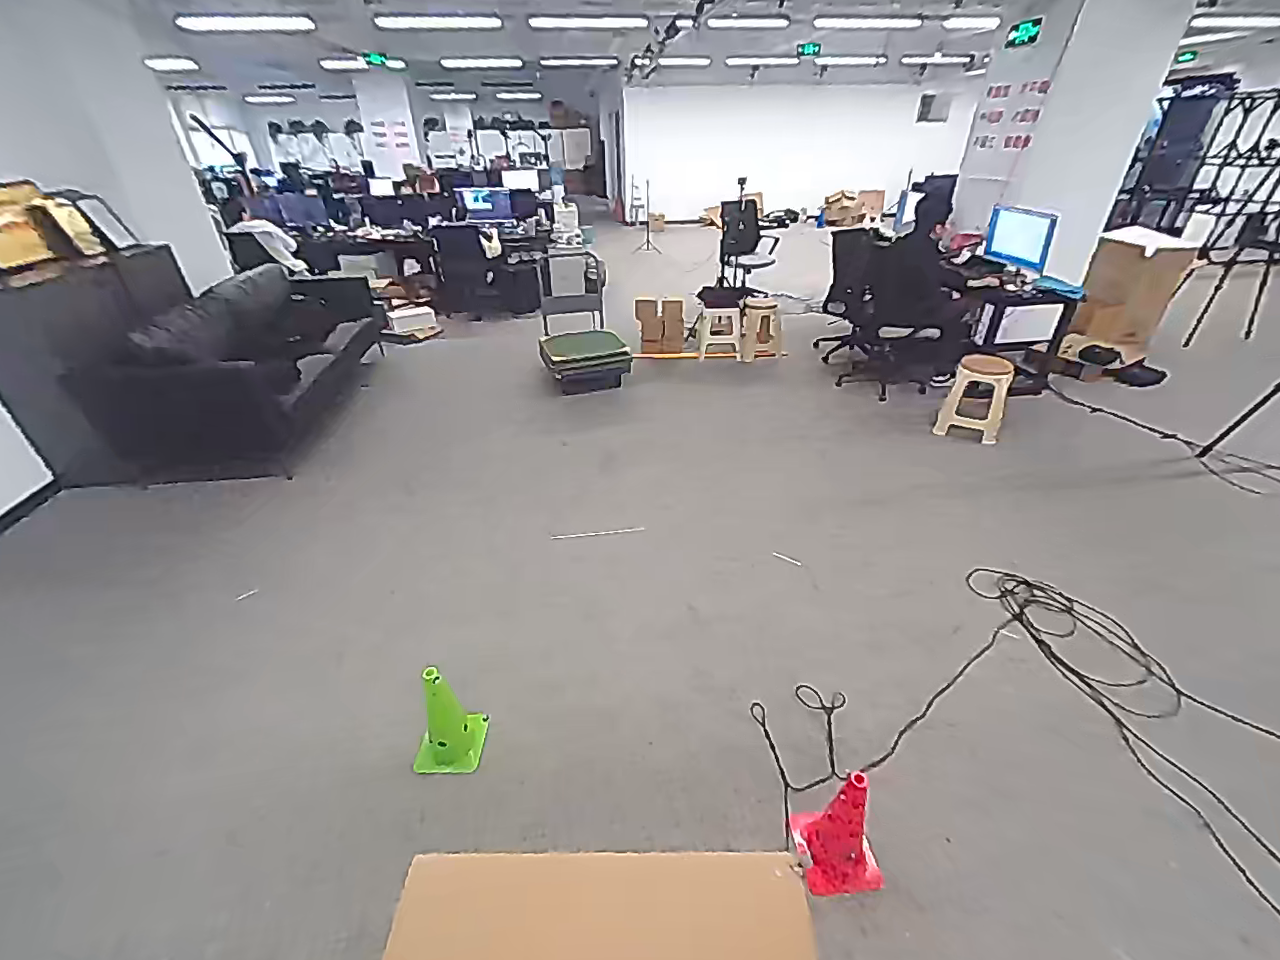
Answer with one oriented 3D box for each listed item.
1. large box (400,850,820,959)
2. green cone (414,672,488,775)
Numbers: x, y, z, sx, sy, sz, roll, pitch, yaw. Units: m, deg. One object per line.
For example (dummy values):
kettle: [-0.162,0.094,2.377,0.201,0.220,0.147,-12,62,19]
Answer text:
large box: [-0.027,0.611,0.548,0.408,0.320,0.320,-1,39,0]
green cone: [-0.615,0.717,1.666,0.200,0.368,0.202,-2,34,0]
